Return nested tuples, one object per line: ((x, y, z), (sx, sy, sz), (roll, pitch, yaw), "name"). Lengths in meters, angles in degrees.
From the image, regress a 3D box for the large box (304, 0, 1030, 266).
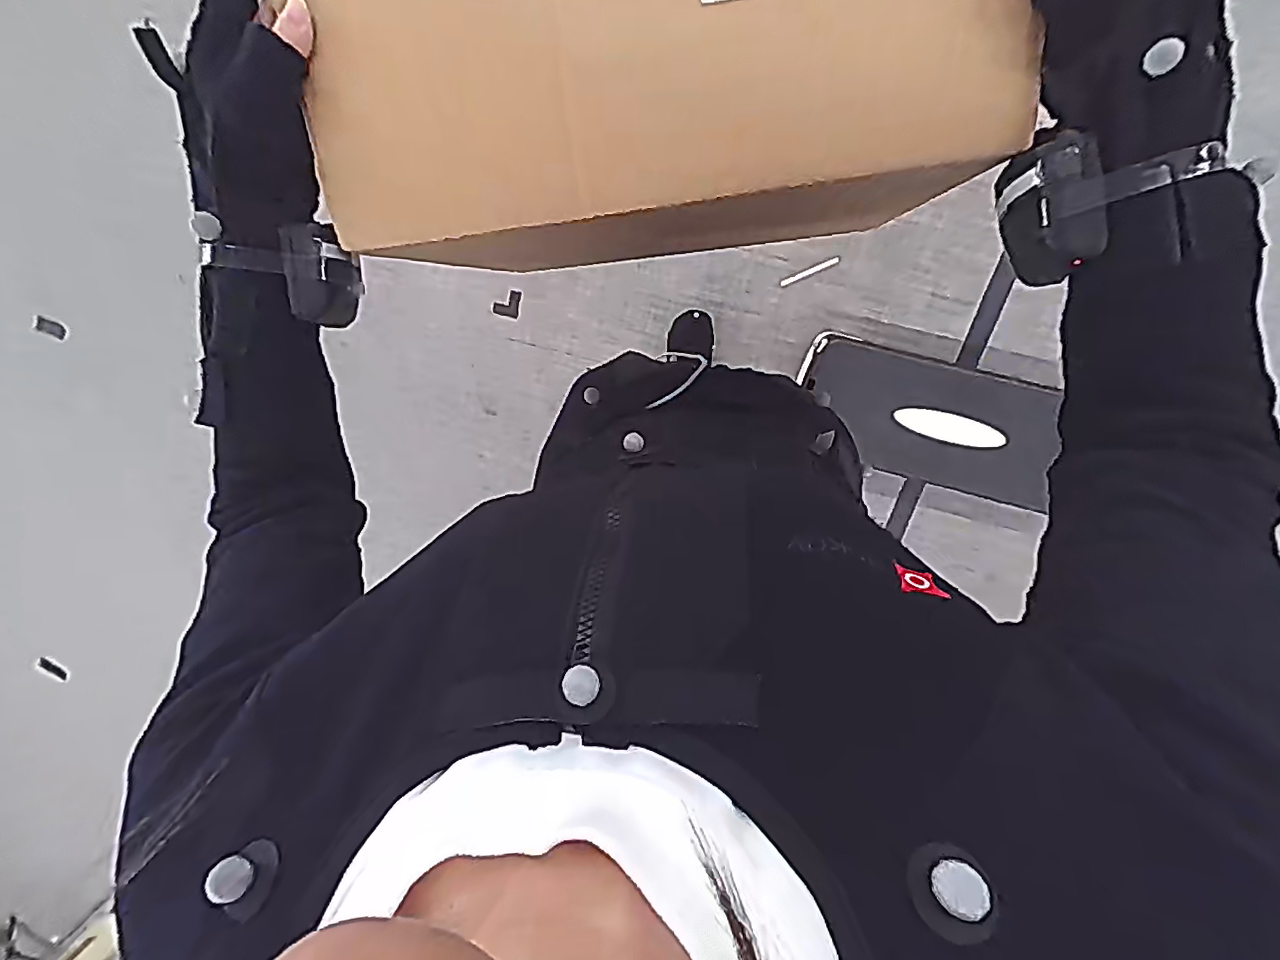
((0.014, -0.365, 0.421), (0.408, 0.320, 0.320), (-3, 109, 10), "large box")
